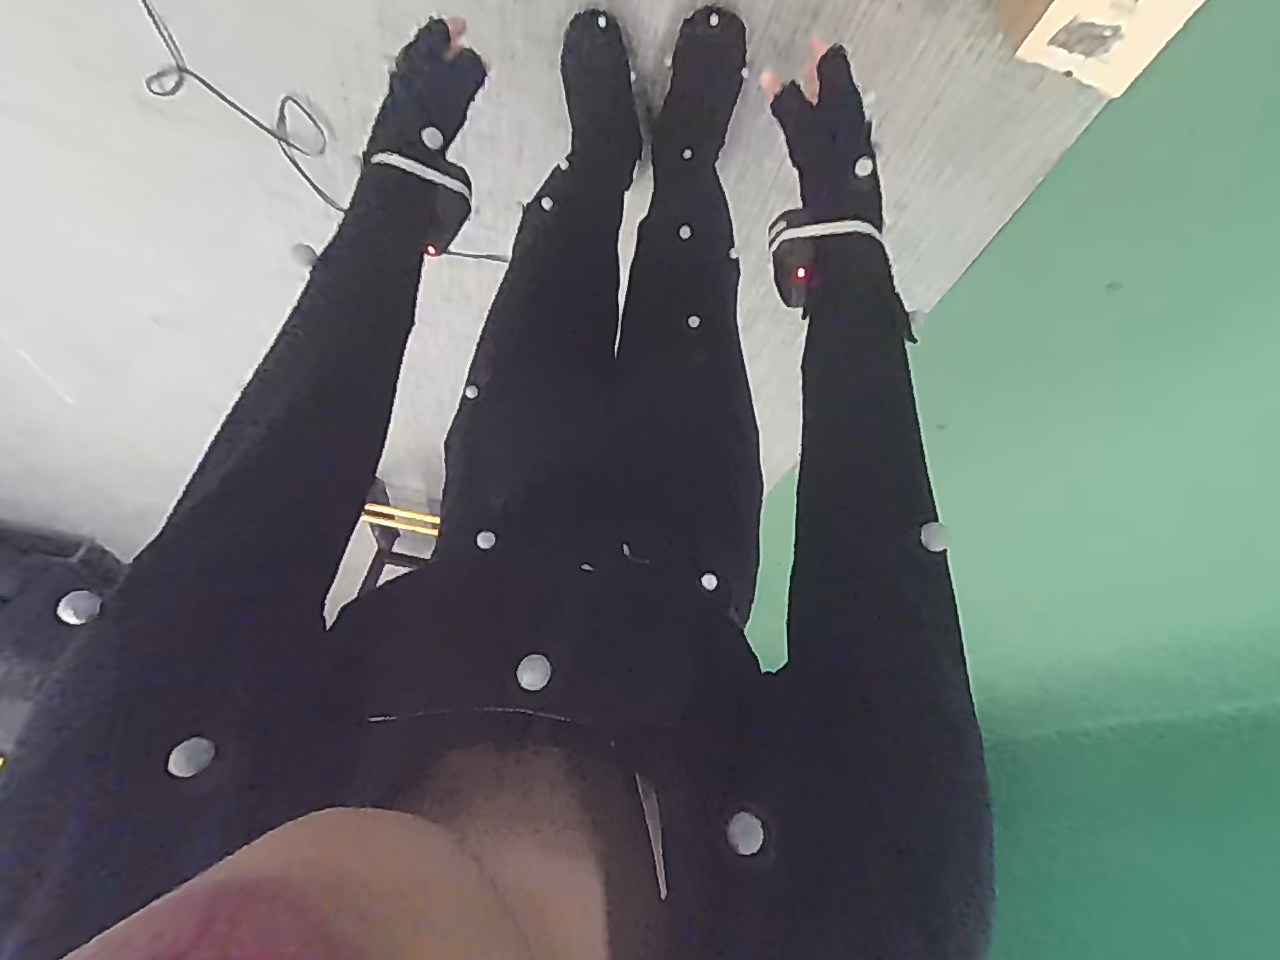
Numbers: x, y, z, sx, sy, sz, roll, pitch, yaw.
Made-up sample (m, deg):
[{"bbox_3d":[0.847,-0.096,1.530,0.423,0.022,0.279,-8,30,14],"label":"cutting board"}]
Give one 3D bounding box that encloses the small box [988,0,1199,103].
[{"bbox_3d":[0.591,-0.645,0.702,0.168,0.176,0.179,14,145,-9],"label":"small box"}]
